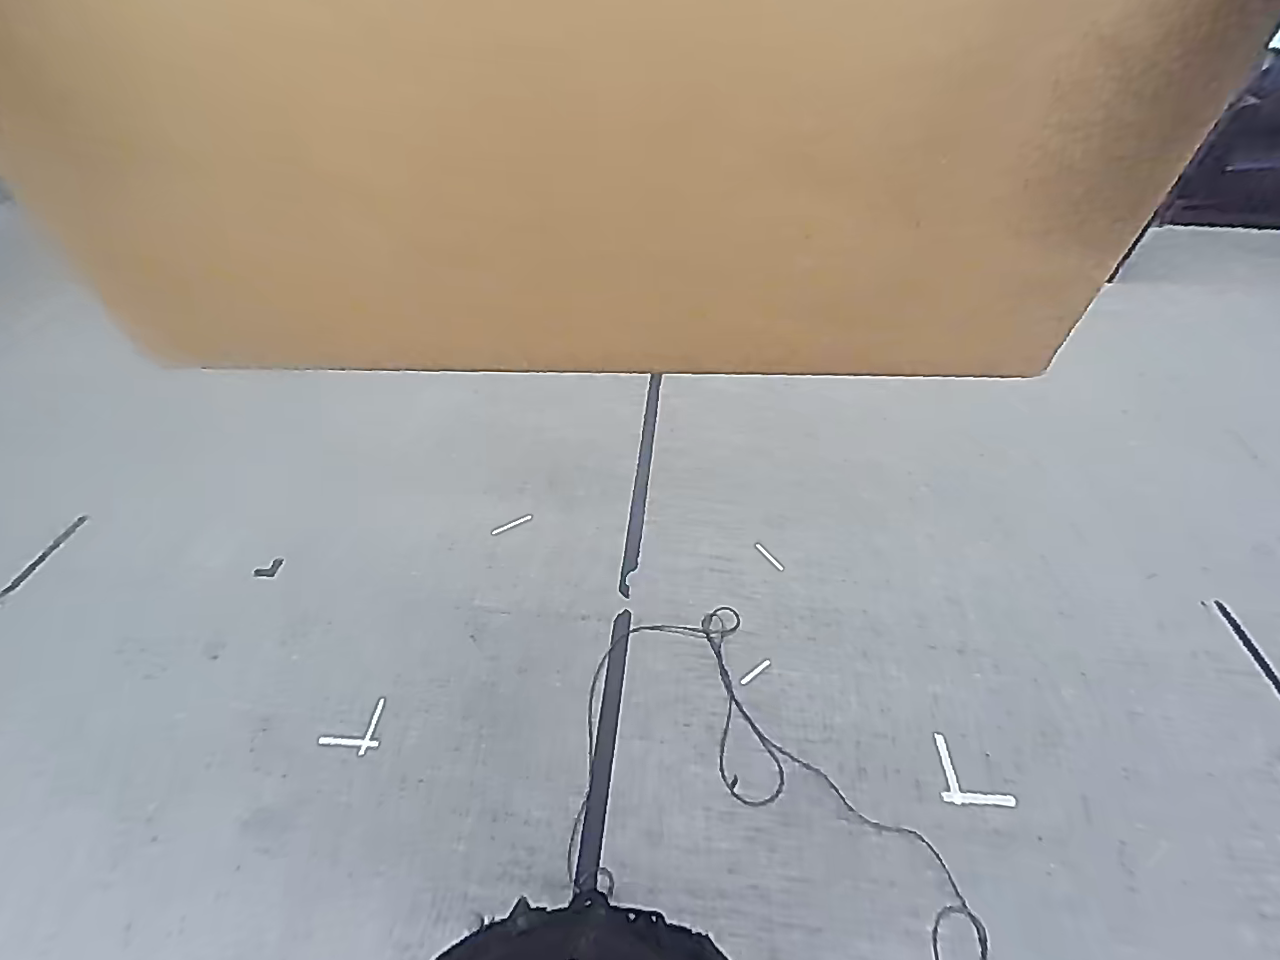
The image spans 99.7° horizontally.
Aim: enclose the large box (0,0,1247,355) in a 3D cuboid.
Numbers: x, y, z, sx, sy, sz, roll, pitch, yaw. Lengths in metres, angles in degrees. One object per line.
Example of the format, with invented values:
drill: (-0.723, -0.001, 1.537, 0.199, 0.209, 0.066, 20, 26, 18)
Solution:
large box: (-0.013, -0.270, 0.243, 0.408, 0.320, 0.320, 1, 48, -1)
